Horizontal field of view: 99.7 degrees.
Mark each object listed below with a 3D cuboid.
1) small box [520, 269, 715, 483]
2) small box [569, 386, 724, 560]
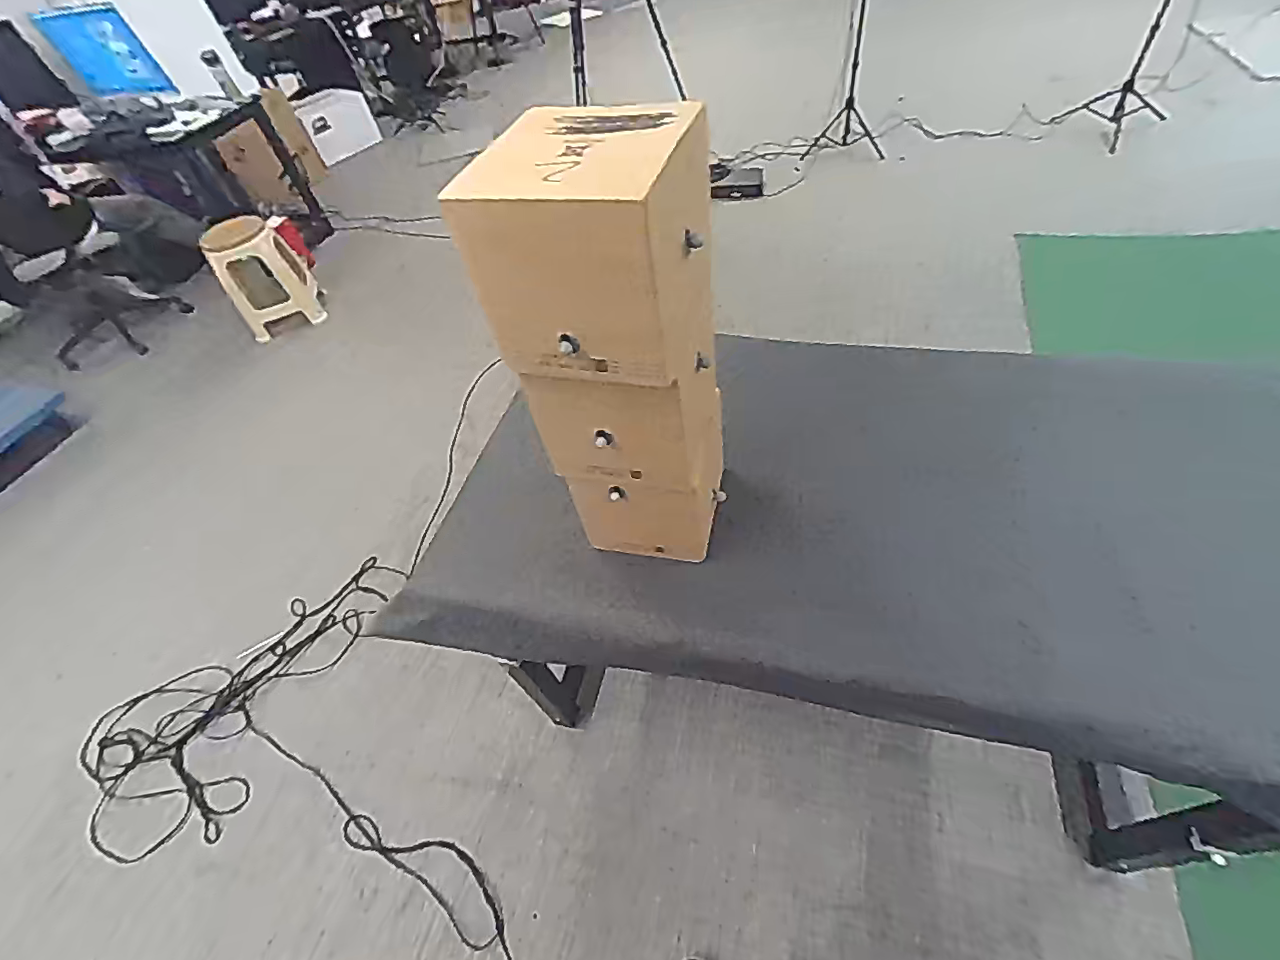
[{"bbox_3d":[-0.008,-0.117,0.616,0.168,0.176,0.179,8,52,15],"label":"small box"},{"bbox_3d":[0.020,-0.016,0.744,0.168,0.176,0.179,7,52,15],"label":"small box"}]
